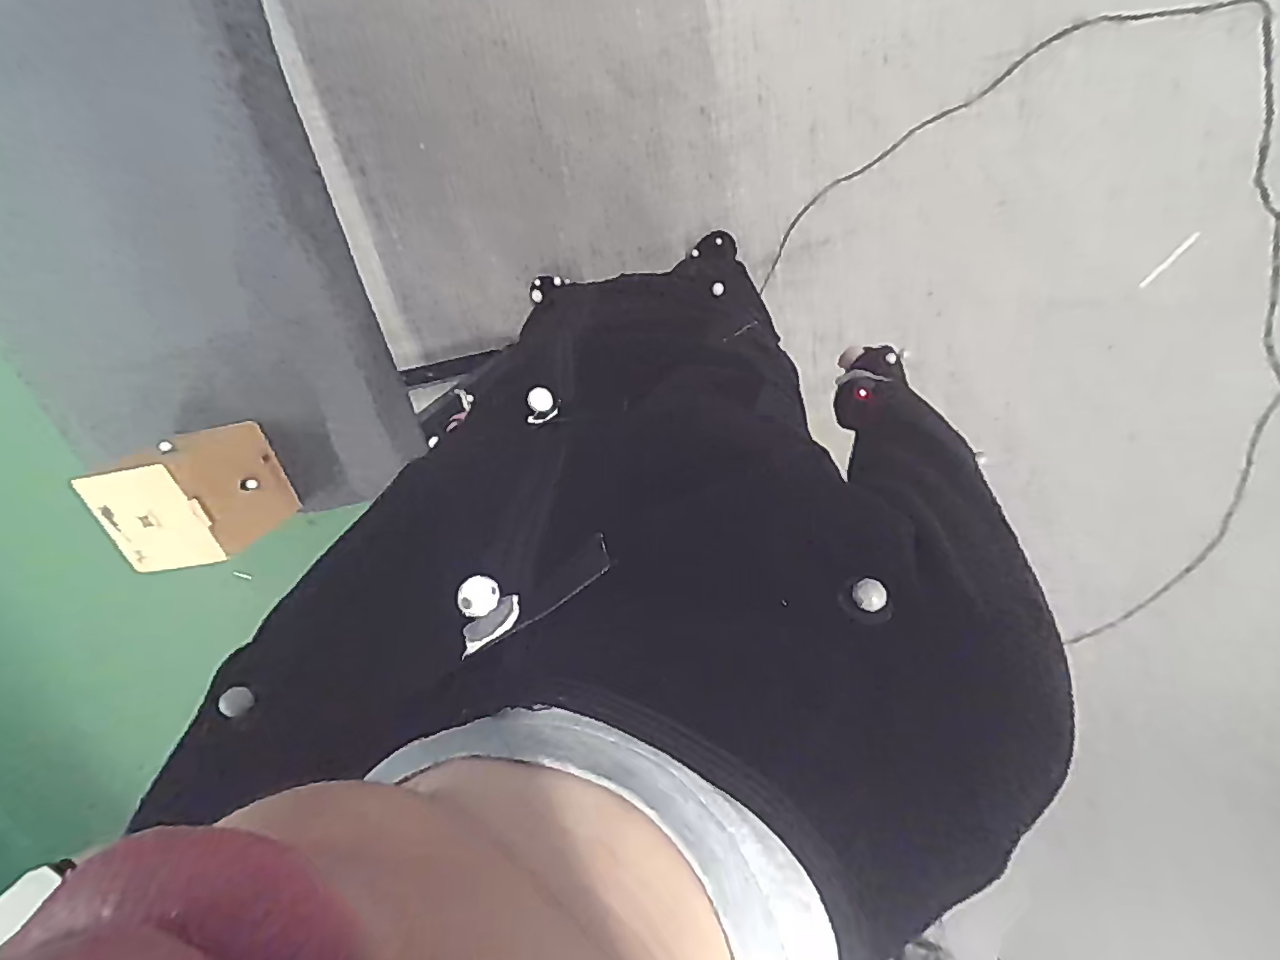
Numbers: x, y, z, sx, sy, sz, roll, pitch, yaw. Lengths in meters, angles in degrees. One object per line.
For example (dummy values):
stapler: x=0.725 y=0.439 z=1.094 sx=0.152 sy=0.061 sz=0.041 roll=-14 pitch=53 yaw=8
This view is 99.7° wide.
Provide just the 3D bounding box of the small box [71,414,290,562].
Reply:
small box: x=-0.700 y=0.007 z=0.855 sx=0.179 sy=0.176 sz=0.168 roll=-8 pitch=115 yaw=11
